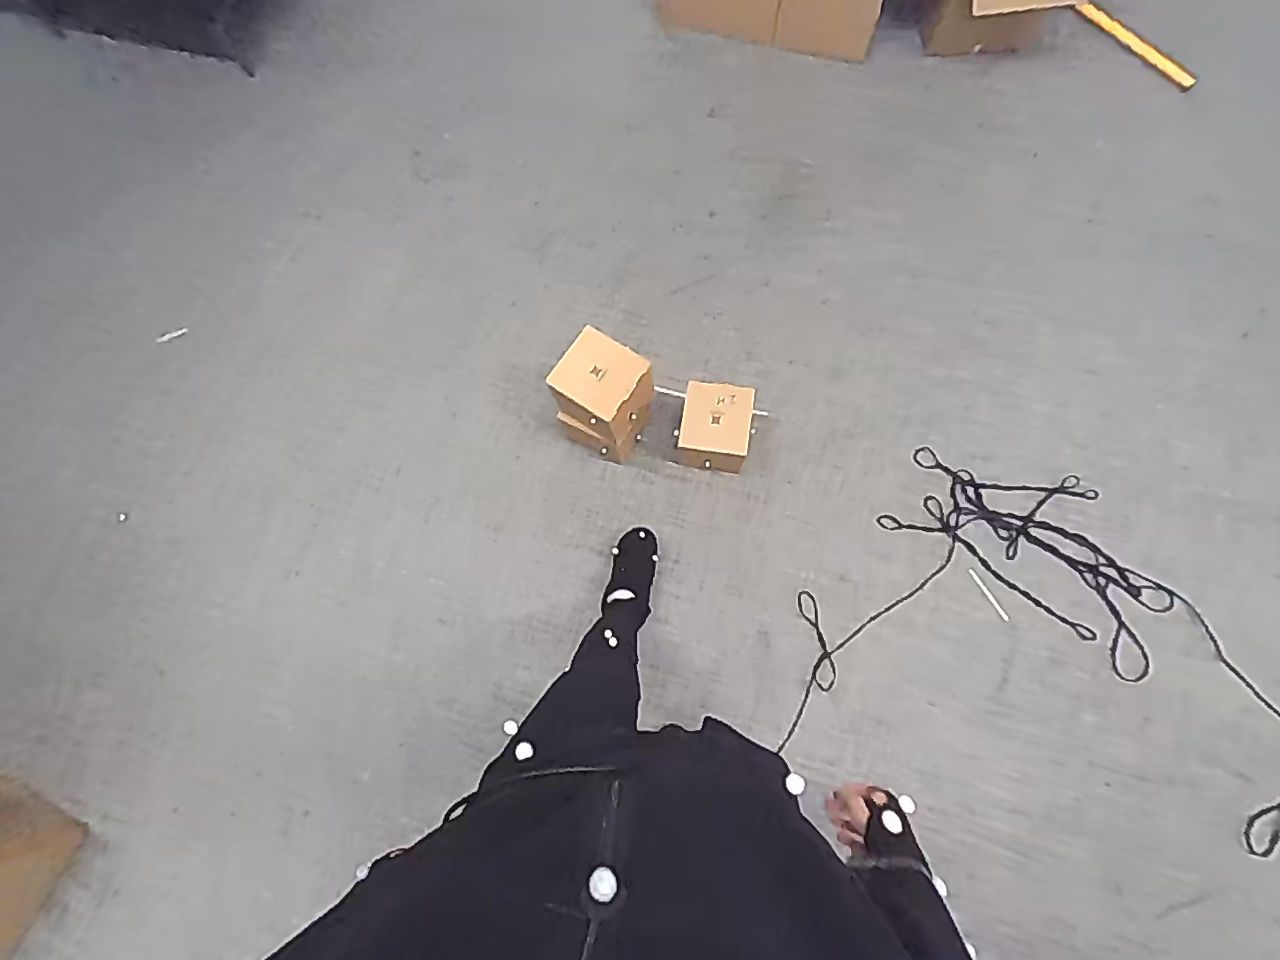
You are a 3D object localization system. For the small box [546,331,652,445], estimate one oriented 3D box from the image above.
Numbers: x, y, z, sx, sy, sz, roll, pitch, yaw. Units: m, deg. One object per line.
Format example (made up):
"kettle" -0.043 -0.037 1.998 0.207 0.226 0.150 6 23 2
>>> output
"small box" -0.087 -0.204 1.252 0.179 0.176 0.168 33 80 11

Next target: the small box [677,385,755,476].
"small box" 0.190 -0.120 1.373 0.168 0.176 0.179 8 76 7
